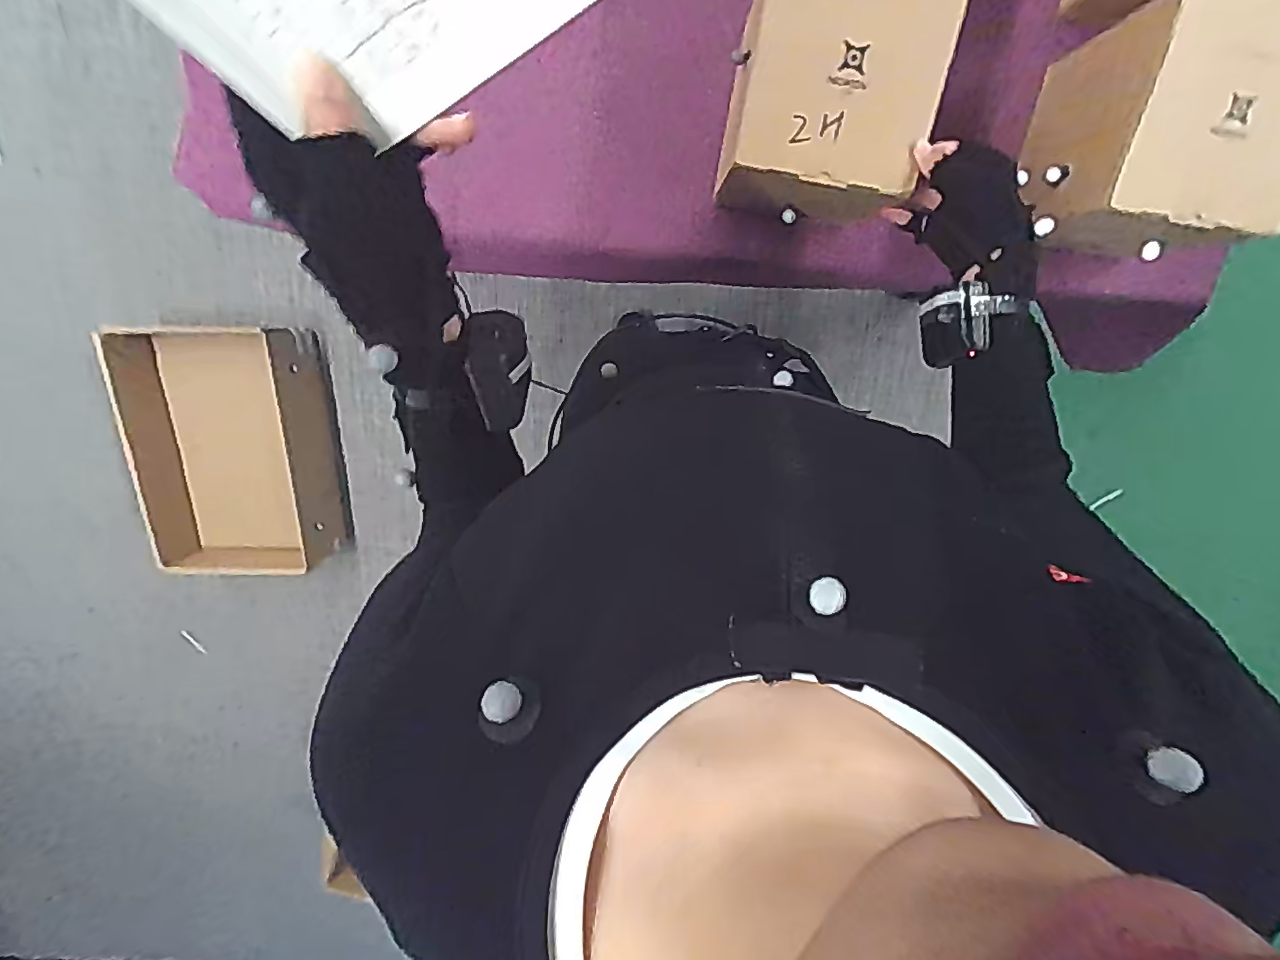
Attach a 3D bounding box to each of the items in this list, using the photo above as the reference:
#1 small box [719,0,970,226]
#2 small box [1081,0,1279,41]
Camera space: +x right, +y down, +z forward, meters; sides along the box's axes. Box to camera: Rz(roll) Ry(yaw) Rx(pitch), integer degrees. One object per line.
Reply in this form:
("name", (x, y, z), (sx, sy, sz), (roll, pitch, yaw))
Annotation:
("small box", (0.180, -0.371, 0.534), (0.168, 0.176, 0.179), (10, 106, -1))
("small box", (0.540, -0.536, 0.477), (0.168, 0.176, 0.179), (11, 107, -3))
